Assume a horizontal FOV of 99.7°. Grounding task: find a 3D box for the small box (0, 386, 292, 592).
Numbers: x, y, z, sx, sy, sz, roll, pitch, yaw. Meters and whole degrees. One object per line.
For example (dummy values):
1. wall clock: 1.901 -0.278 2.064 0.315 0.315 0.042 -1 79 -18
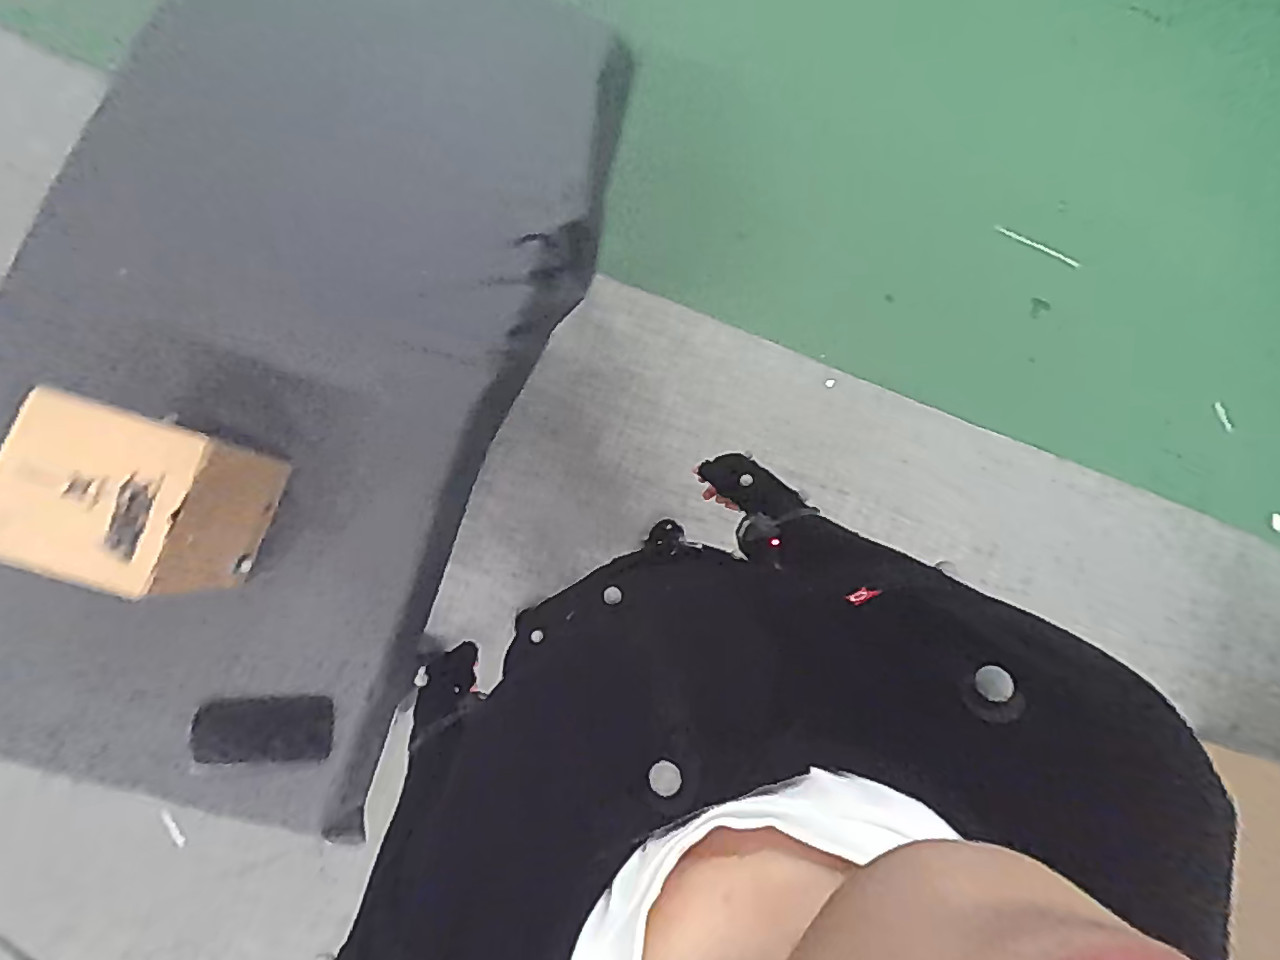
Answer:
1. small box: -0.541 0.016 0.609 0.179 0.176 0.168 17 81 -4
